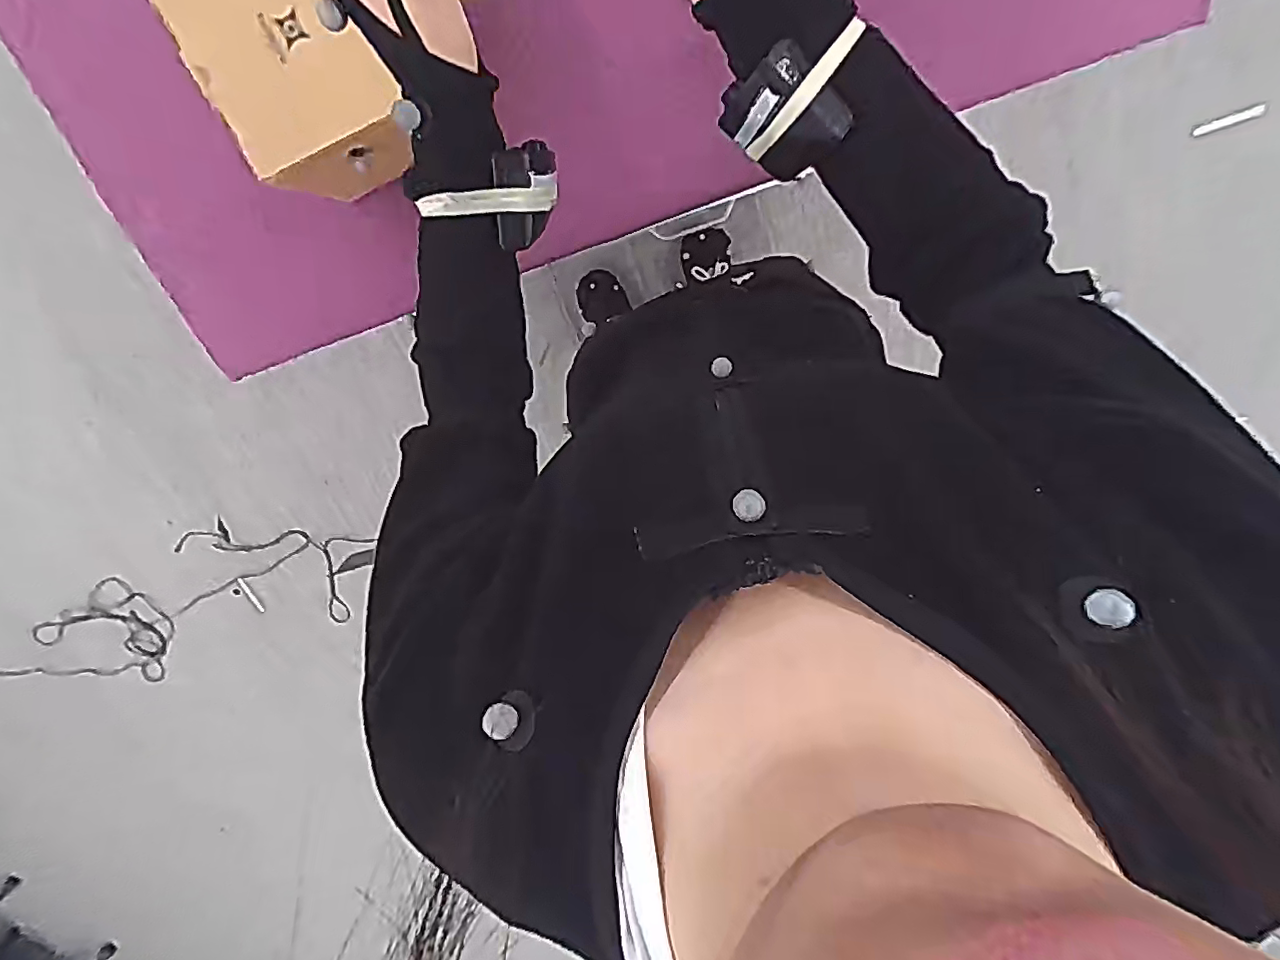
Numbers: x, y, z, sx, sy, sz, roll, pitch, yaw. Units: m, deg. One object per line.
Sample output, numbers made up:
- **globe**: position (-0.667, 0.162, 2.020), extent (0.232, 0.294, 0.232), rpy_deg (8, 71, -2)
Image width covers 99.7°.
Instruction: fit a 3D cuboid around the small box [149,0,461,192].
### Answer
- **small box**: position (-0.291, -0.396, 0.512), extent (0.179, 0.176, 0.168), rpy_deg (-21, 112, 8)
